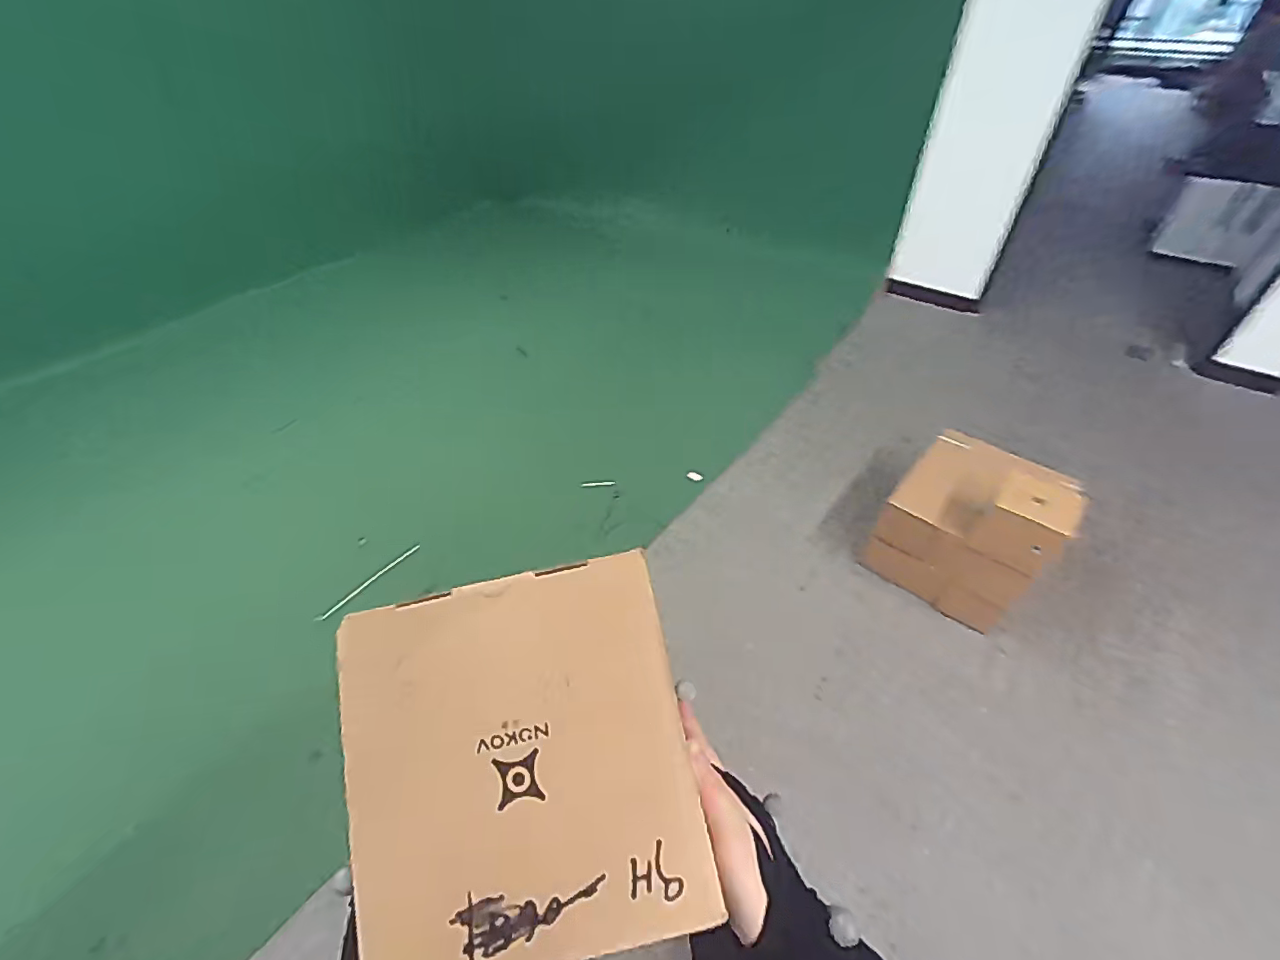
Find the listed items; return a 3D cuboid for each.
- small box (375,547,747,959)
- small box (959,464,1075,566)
[{"bbox_3d":[-0.045,0.156,0.343,0.168,0.176,0.179,-11,73,-2],"label":"small box"},{"bbox_3d":[0.968,0.095,1.398,0.179,0.176,0.168,29,52,27],"label":"small box"}]
